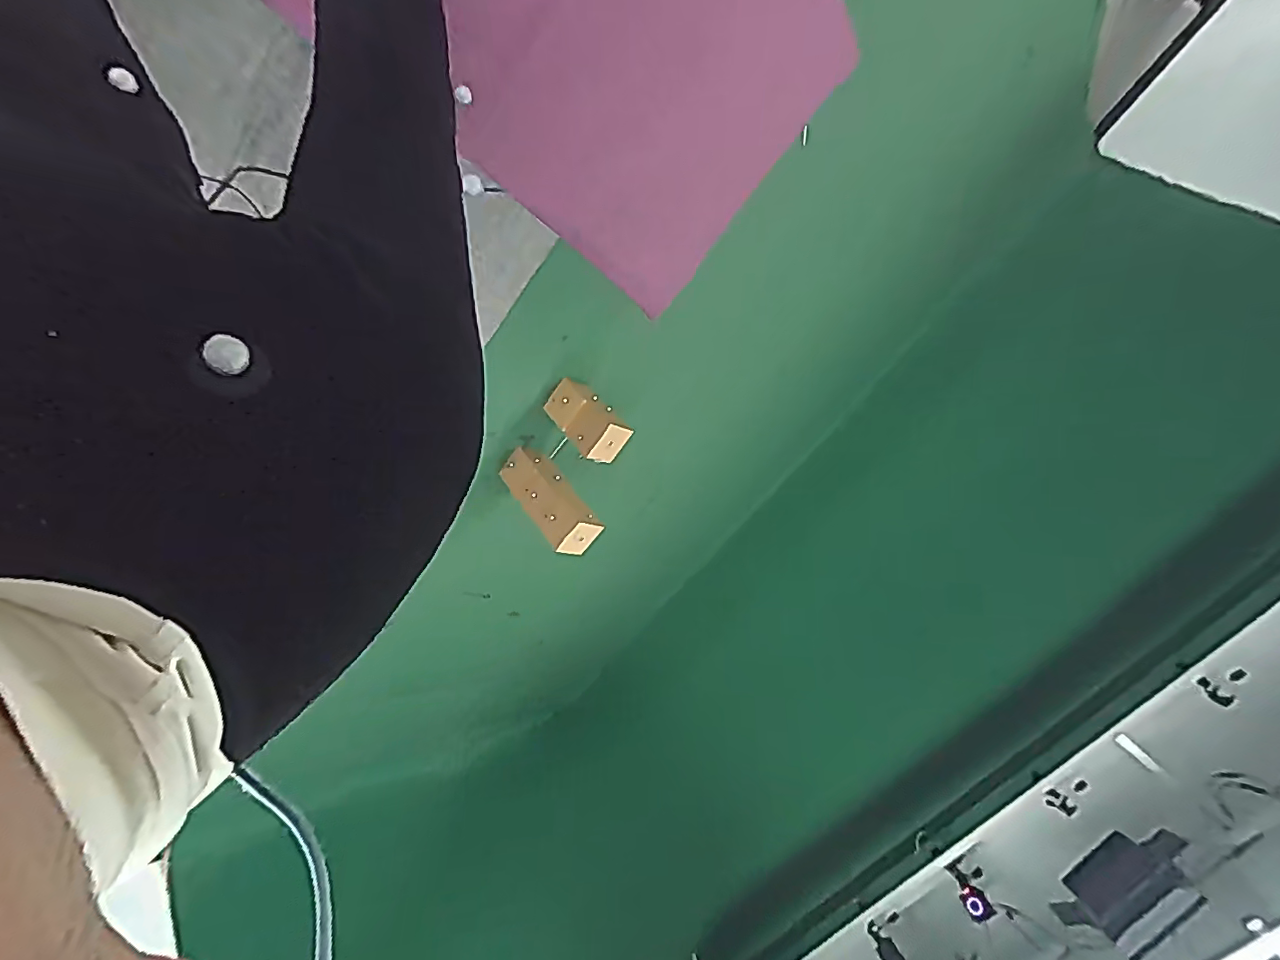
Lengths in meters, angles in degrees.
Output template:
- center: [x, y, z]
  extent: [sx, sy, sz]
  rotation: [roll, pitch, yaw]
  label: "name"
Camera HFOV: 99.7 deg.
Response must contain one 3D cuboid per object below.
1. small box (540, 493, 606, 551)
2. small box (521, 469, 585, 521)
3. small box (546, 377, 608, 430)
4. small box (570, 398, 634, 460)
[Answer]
- center: [-0.282, 0.175, 2.257]
  extent: [0.168, 0.176, 0.179]
  rotation: [-50, 149, 13]
  label: "small box"
- center: [-0.380, 0.071, 2.339]
  extent: [0.168, 0.176, 0.179]
  rotation: [-49, 148, 15]
  label: "small box"
- center: [-0.267, -0.316, 2.302]
  extent: [0.168, 0.176, 0.179]
  rotation: [-52, 150, 17]
  label: "small box"
- center: [-0.163, -0.209, 2.235]
  extent: [0.179, 0.176, 0.168]
  rotation: [-52, 150, 16]
  label: "small box"
